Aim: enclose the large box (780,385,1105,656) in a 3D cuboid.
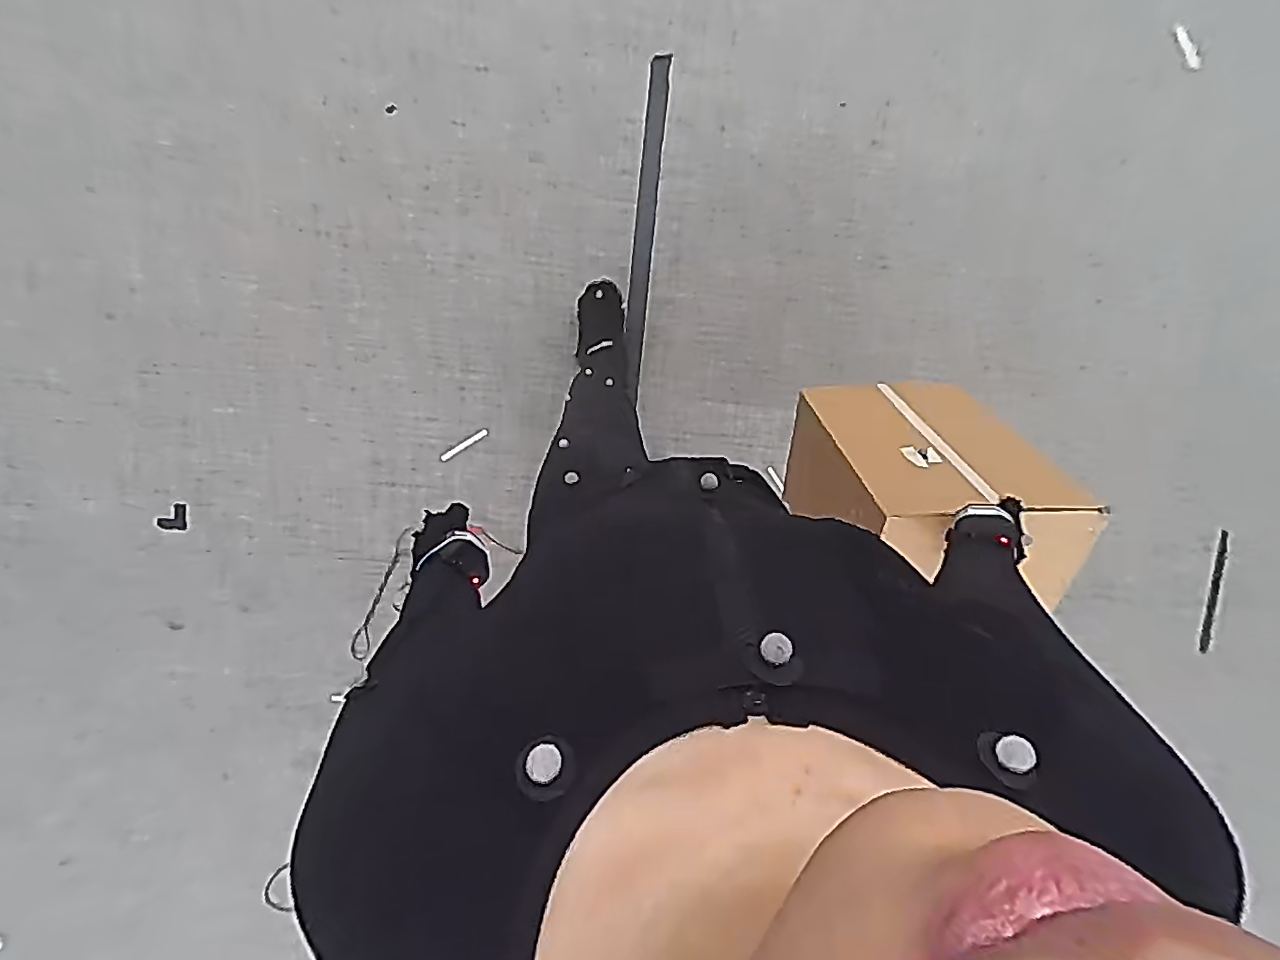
[{"bbox_3d":[0.477,0.055,0.982,0.320,0.408,0.320,-2,126,-2],"label":"large box"}]
